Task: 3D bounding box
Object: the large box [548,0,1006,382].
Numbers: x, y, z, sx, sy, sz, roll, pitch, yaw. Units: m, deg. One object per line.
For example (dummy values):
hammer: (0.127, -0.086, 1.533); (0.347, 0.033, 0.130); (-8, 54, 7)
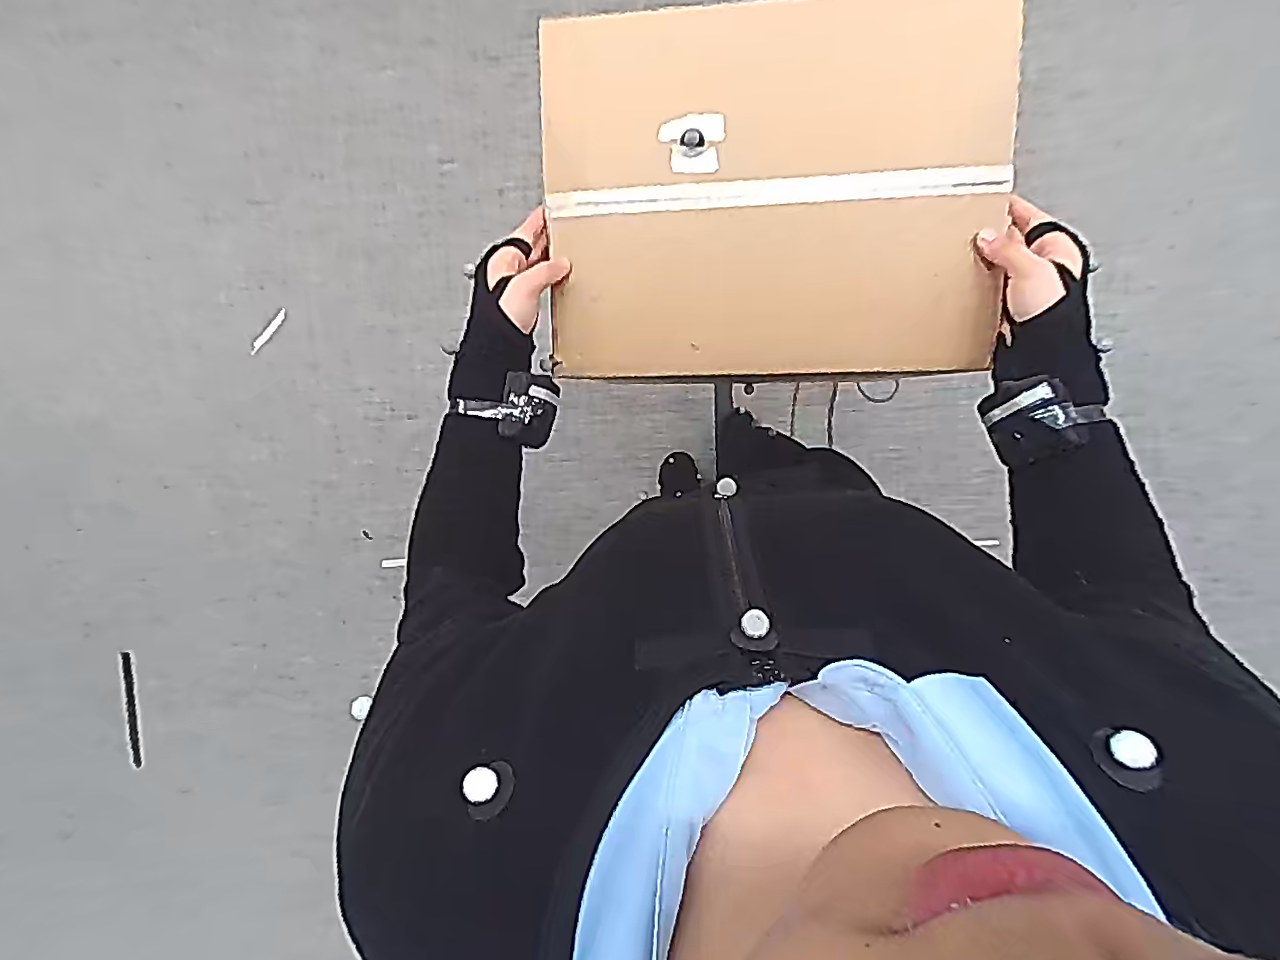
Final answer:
large box: (0.134, -0.282, 0.641); (0.408, 0.320, 0.320); (0, 97, 6)
